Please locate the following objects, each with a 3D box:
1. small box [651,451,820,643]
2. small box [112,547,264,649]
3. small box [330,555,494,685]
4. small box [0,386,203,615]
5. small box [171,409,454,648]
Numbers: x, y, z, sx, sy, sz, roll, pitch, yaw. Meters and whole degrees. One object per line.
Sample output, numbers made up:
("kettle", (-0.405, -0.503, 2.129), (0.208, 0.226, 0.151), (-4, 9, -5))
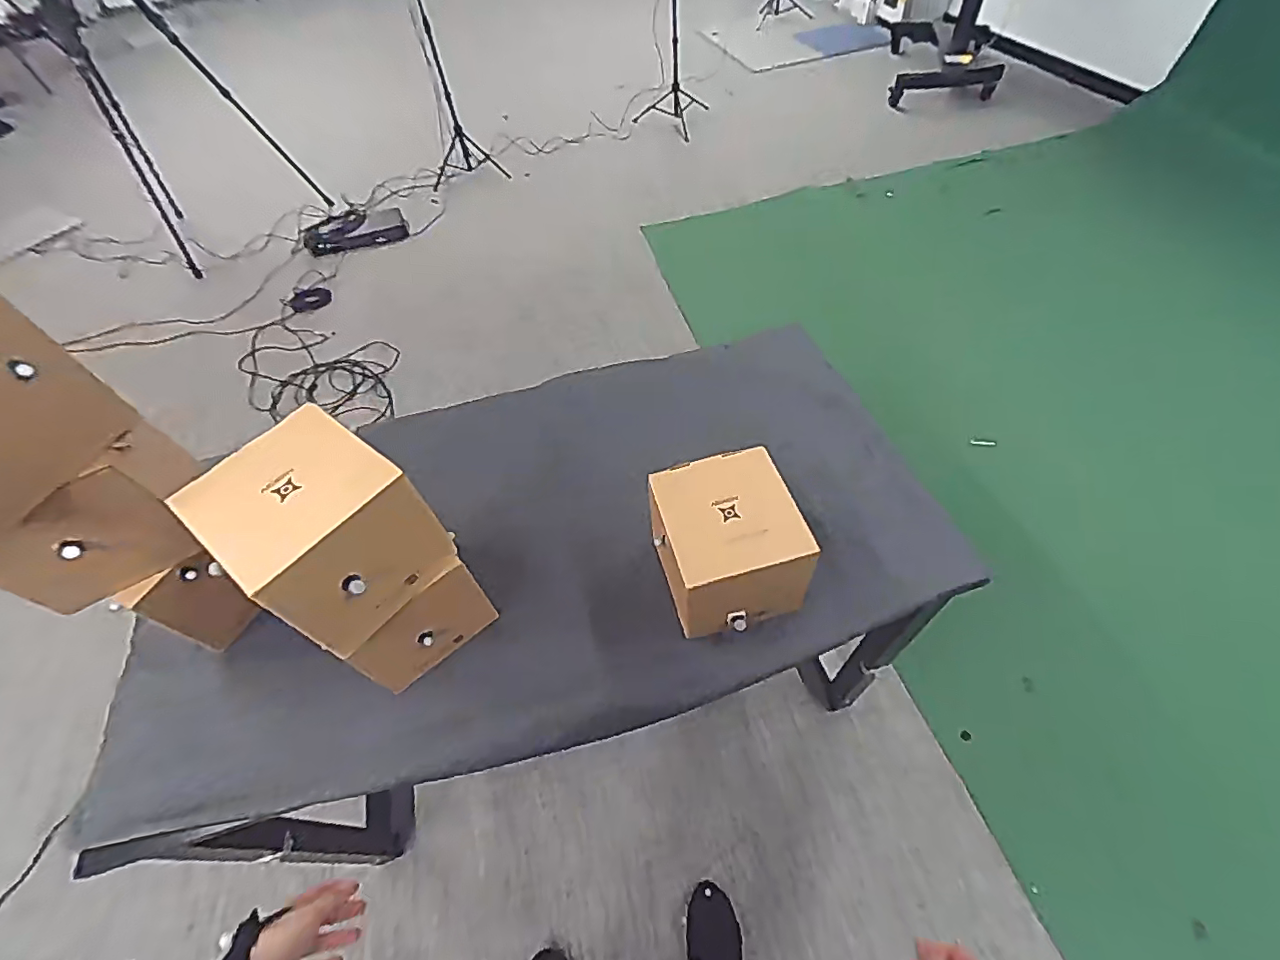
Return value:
("small box", (0.117, 0.092, 0.732), (0.168, 0.176, 0.179), (-15, 53, -5))
("small box", (-0.647, 0.121, 0.780), (0.179, 0.176, 0.168), (18, 57, 17))
("small box", (-0.324, 0.150, 0.729), (0.168, 0.176, 0.179), (-36, 58, -21))
("small box", (-0.657, 0.027, 0.645), (0.179, 0.176, 0.168), (-31, 58, -16))
("small box", (-0.339, 0.060, 0.595), (0.179, 0.176, 0.168), (30, 62, 25))
